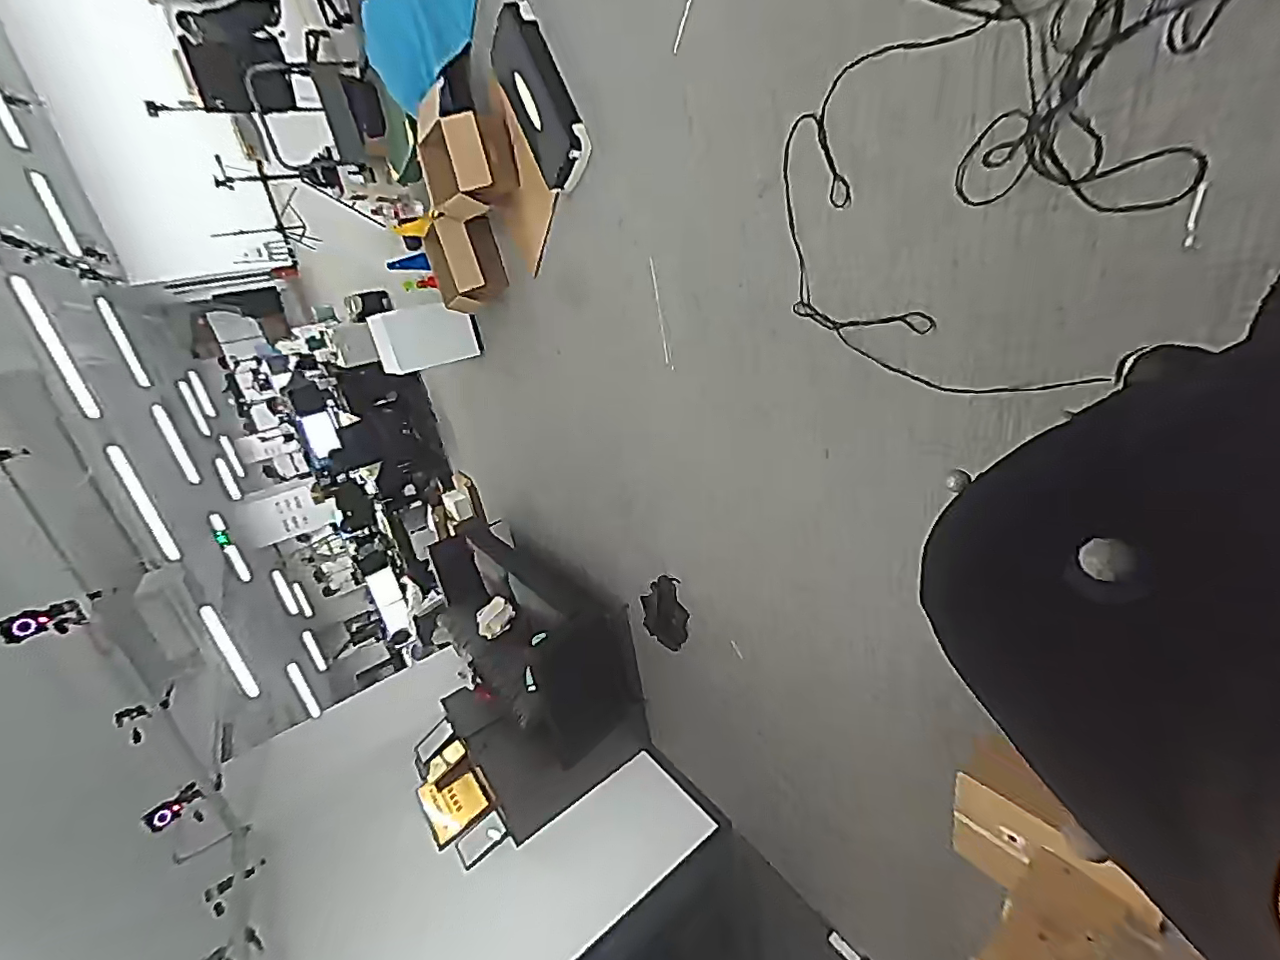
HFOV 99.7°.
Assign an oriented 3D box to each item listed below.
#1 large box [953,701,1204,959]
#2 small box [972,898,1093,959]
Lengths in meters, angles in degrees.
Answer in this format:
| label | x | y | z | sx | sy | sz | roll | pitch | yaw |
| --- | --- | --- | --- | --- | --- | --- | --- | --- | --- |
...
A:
| label | x | y | z | sx | sy | sz | roll | pitch | yaw |
| --- | --- | --- | --- | --- | --- | --- | --- | --- | --- |
| large box | 1.079 | 0.852 | 1.362 | 0.408 | 0.320 | 0.320 | 21 | 127 | 53 |
| small box | 0.800 | 1.025 | 1.110 | 0.168 | 0.176 | 0.179 | 27 | 133 | 48 |
